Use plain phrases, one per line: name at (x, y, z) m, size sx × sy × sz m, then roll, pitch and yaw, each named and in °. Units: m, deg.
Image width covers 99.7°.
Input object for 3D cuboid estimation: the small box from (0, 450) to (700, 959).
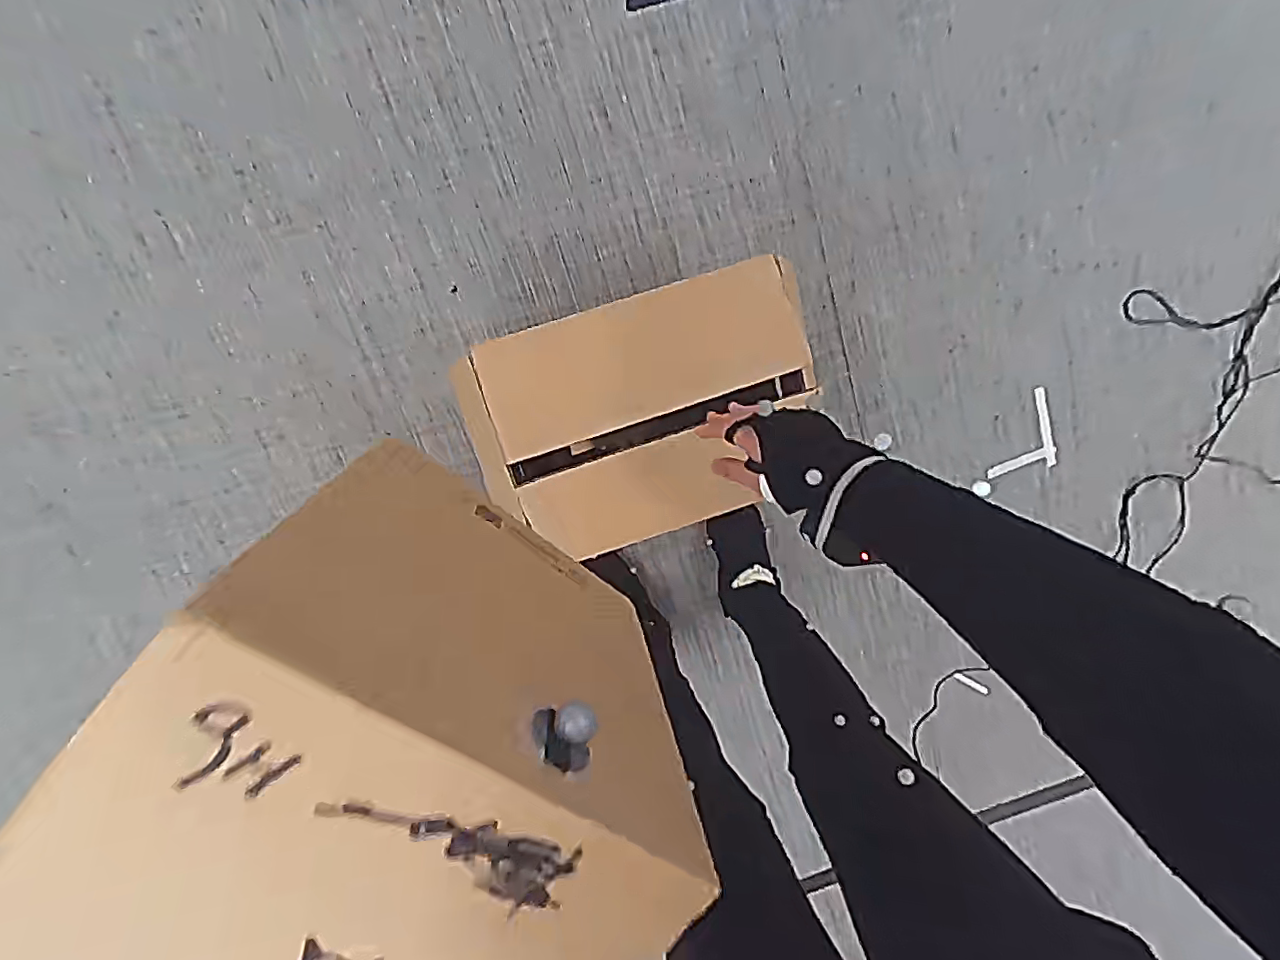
small box at (-0.106, 0.115, 0.230) m, size 0.168 × 0.176 × 0.179 m, roll 39°, pitch 98°, yaw -20°
